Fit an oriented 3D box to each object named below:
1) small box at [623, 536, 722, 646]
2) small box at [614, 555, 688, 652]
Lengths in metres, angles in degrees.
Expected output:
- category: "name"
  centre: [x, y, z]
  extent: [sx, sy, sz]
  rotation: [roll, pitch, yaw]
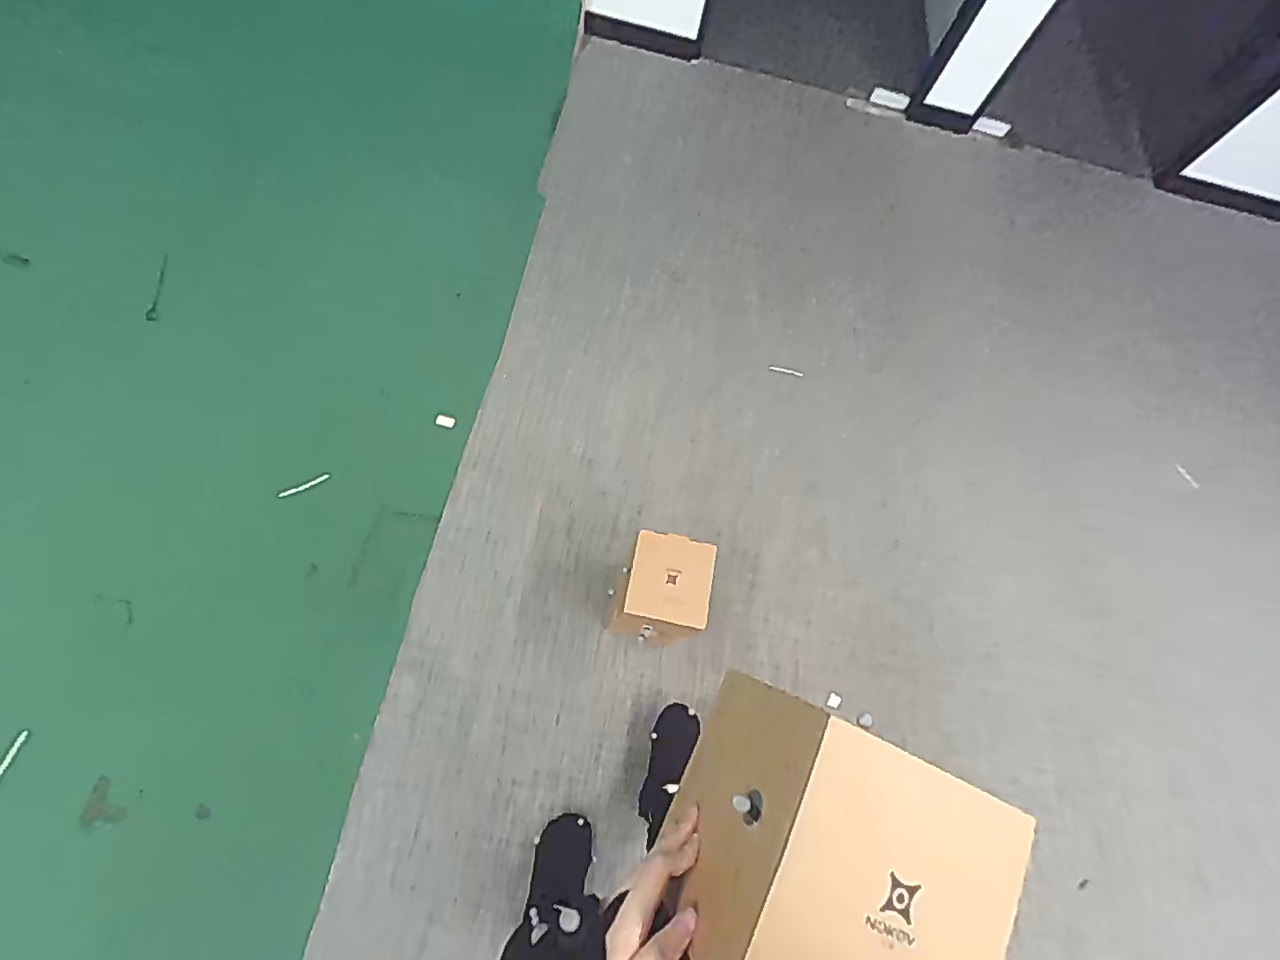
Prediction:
- category: "small box"
  centre: [0.063, 0.238, 1.137]
  extent: [0.168, 0.176, 0.179]
  rotation: [12, 67, -2]
- category: "small box"
  centre: [0.038, 0.300, 1.286]
  extent: [0.168, 0.176, 0.179]
  rotation: [16, 66, -2]
